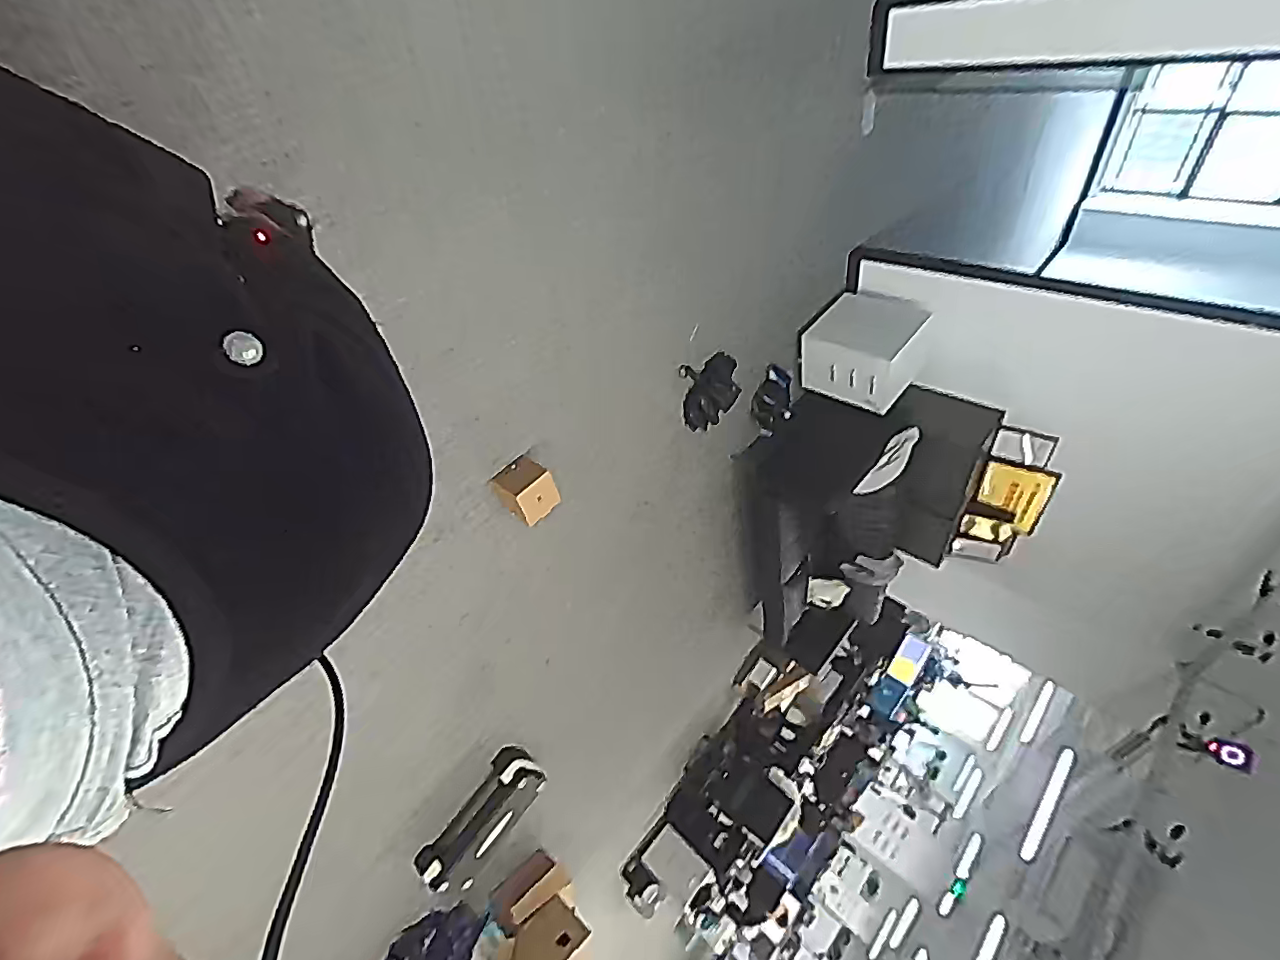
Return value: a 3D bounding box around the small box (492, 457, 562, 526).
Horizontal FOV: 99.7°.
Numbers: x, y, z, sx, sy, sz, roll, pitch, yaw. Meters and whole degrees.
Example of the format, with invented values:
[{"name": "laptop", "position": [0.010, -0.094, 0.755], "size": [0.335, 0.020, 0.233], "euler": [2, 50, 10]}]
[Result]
[{"name": "small box", "position": [-0.435, 0.041, 2.086], "size": [0.168, 0.176, 0.179], "euler": [-44, 141, -25]}]
